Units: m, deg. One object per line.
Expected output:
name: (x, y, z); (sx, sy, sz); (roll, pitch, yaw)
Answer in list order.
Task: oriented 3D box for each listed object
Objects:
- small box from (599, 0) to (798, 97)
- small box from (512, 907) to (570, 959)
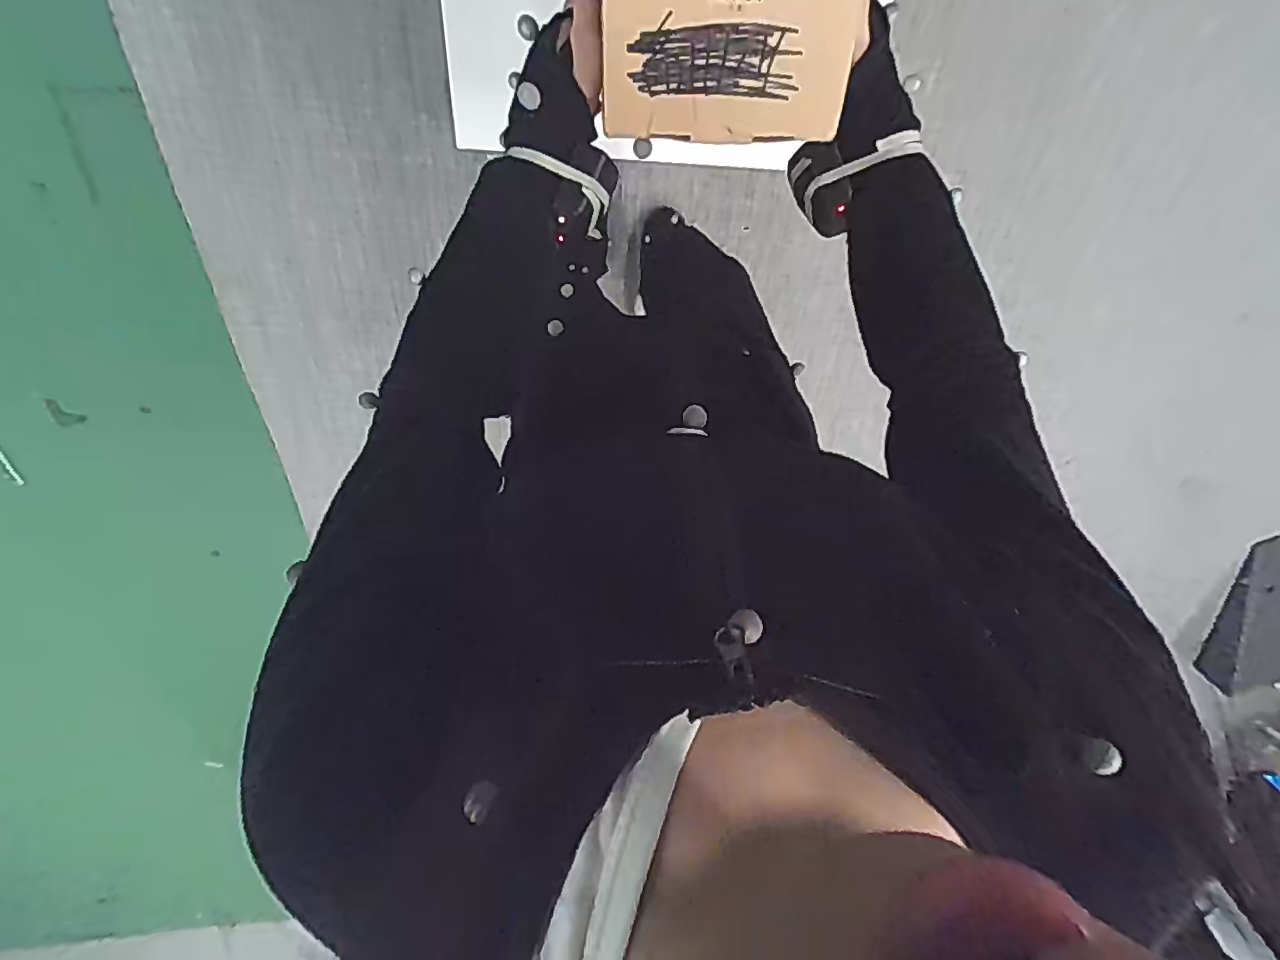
small box: (0.049, -0.483, 0.518); (0.168, 0.176, 0.179); (-1, 124, -8)
small box: (-0.298, 1.433, 1.641); (0.168, 0.176, 0.179); (-3, 126, -8)
